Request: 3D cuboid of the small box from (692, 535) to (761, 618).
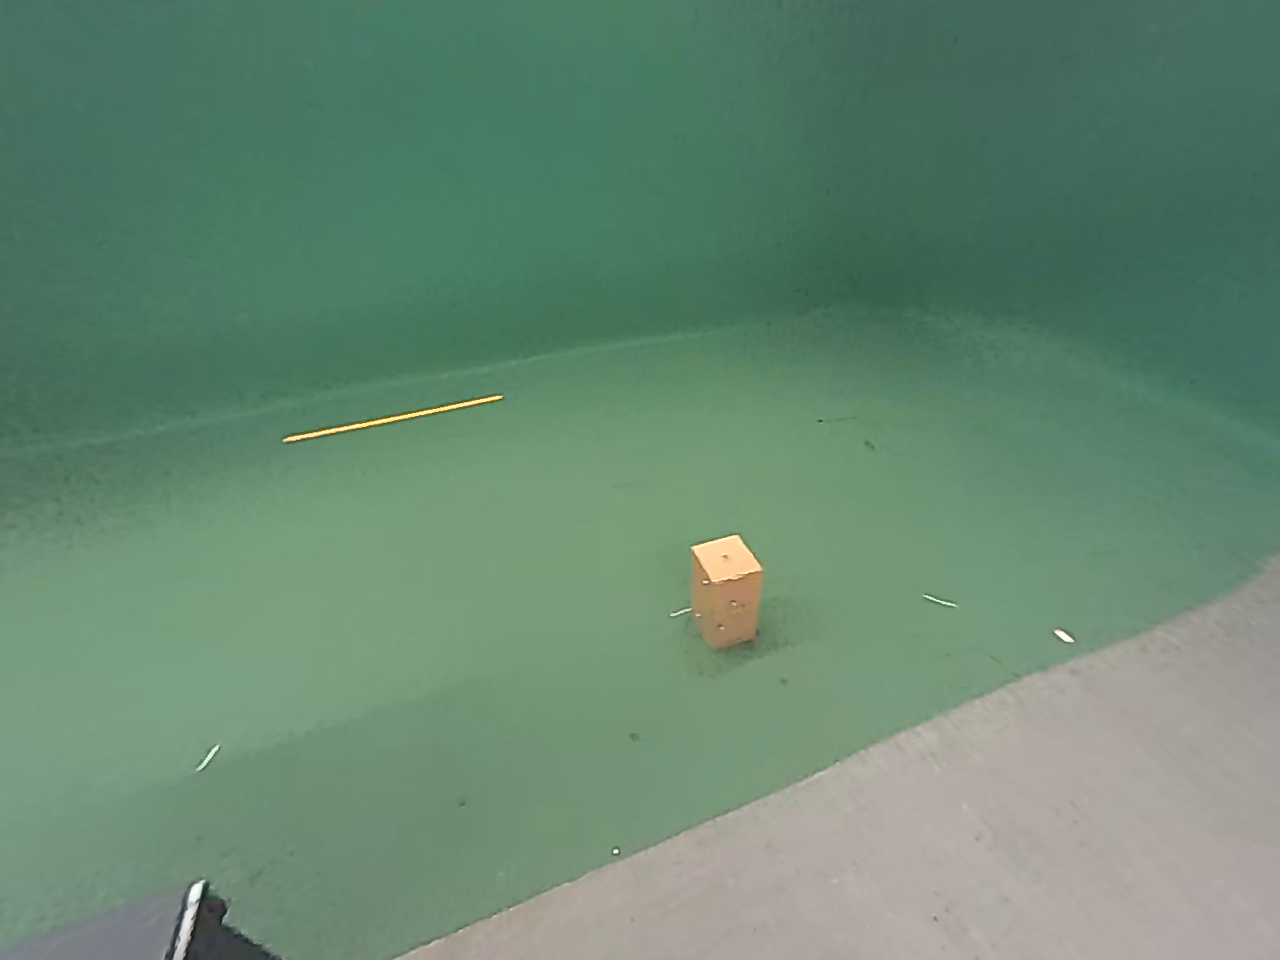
[{"bbox_3d":[0.271,0.311,1.744,0.168,0.176,0.179,-13,36,-14],"label":"small box"}]
